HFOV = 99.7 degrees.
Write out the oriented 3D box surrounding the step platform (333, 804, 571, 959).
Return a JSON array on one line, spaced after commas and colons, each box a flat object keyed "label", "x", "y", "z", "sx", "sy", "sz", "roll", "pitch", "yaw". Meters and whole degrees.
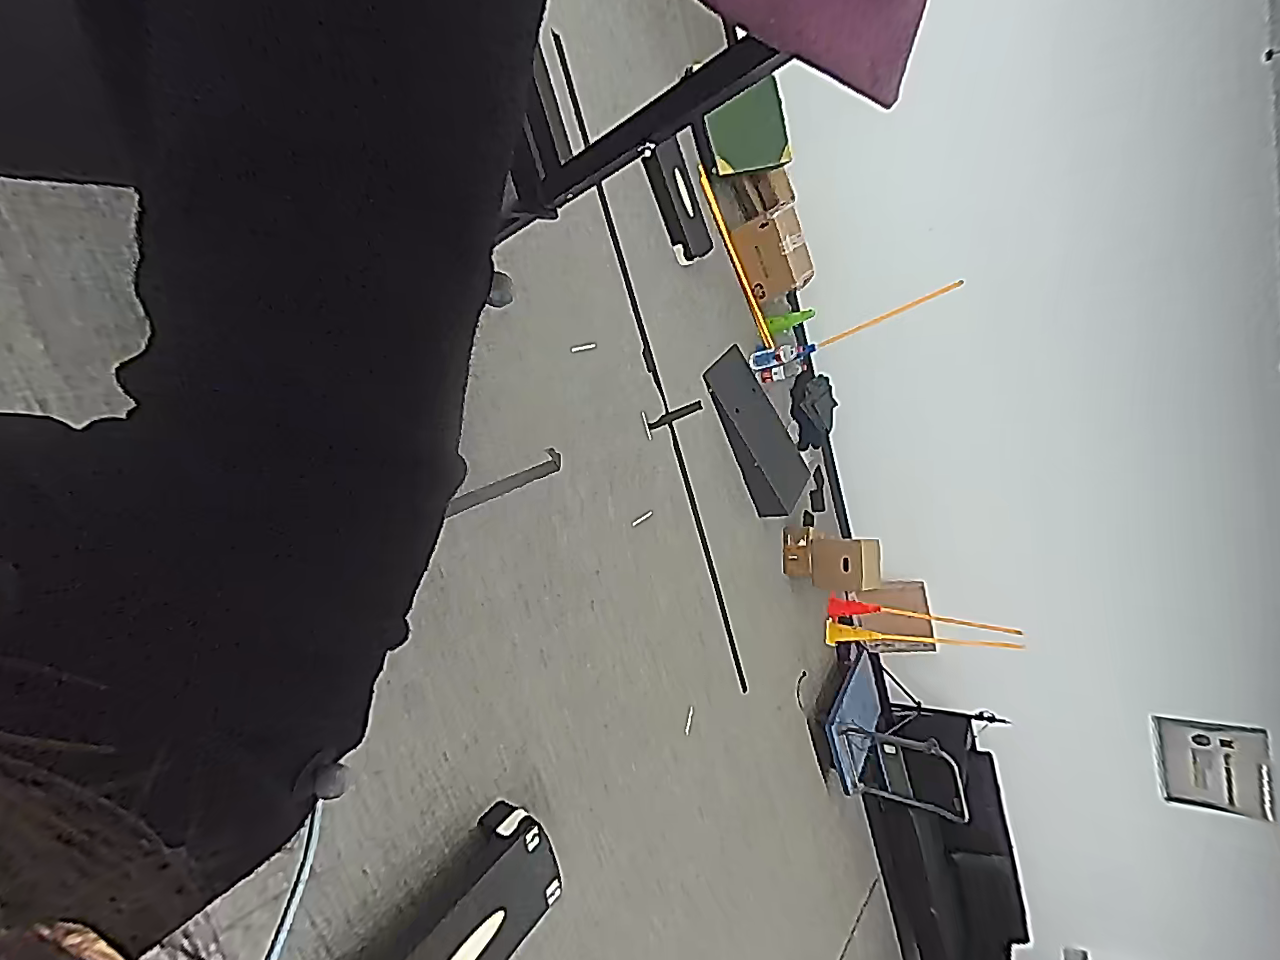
[{"label": "step platform", "x": -0.494, "y": 1.250, "z": 1.493, "sx": 0.684, "sy": 0.204, "sz": 0.286, "roll": -20, "pitch": 99, "yaw": -51}]
